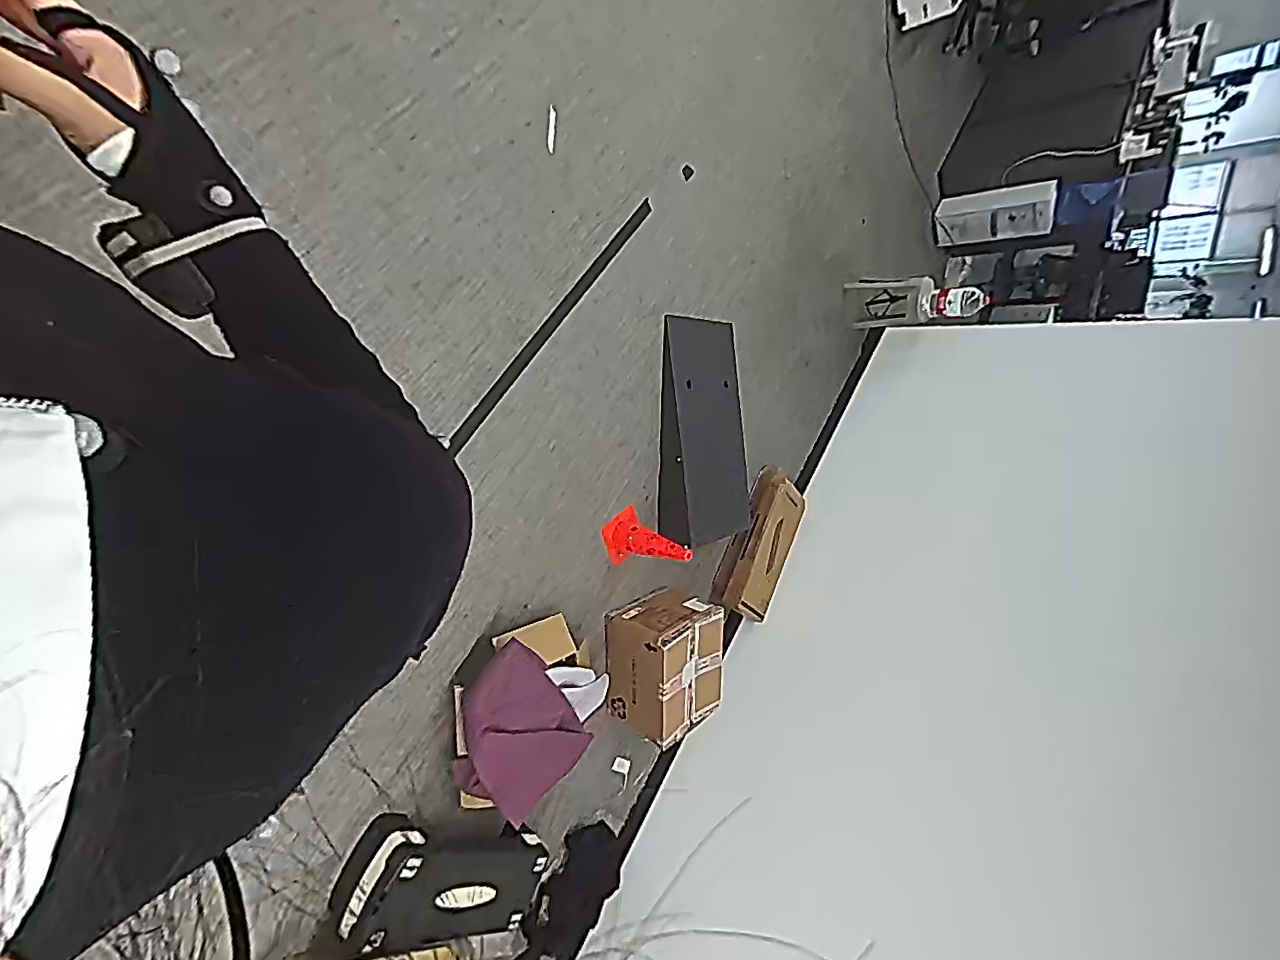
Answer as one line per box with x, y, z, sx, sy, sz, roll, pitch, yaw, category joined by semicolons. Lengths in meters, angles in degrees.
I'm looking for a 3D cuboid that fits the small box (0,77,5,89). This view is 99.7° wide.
-0.465;-0.304;0.261;0.179;0.176;0.168;-20;122;-43;small box
